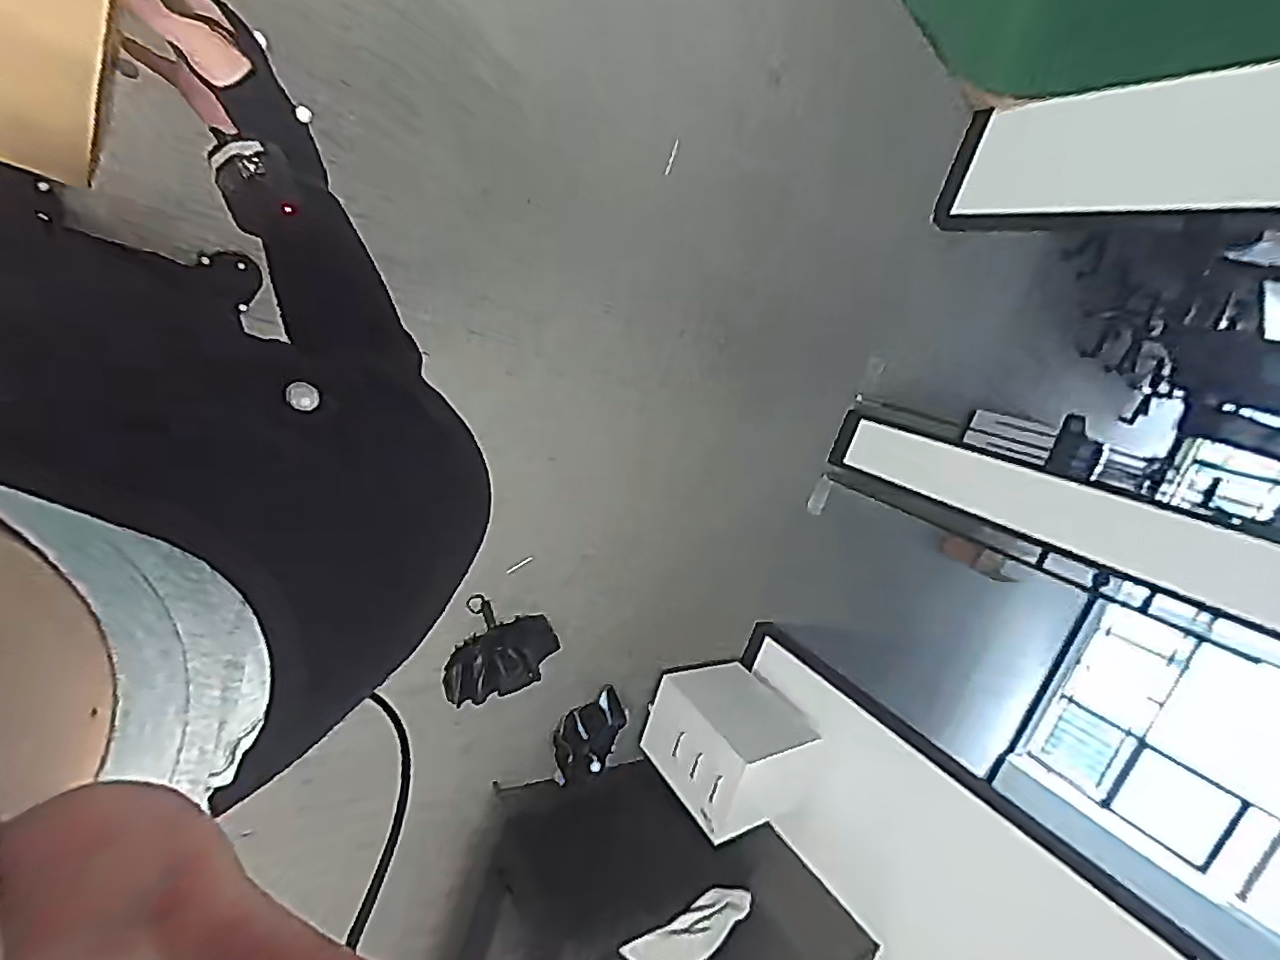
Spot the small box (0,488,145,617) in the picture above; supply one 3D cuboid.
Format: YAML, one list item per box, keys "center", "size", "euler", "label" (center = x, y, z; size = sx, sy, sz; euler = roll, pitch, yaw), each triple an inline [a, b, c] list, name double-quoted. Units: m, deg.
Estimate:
- center: [-1.202, 0.146, 1.138]
  size: [0.168, 0.176, 0.179]
  euler: [-39, 127, -18]
  label: "small box"
